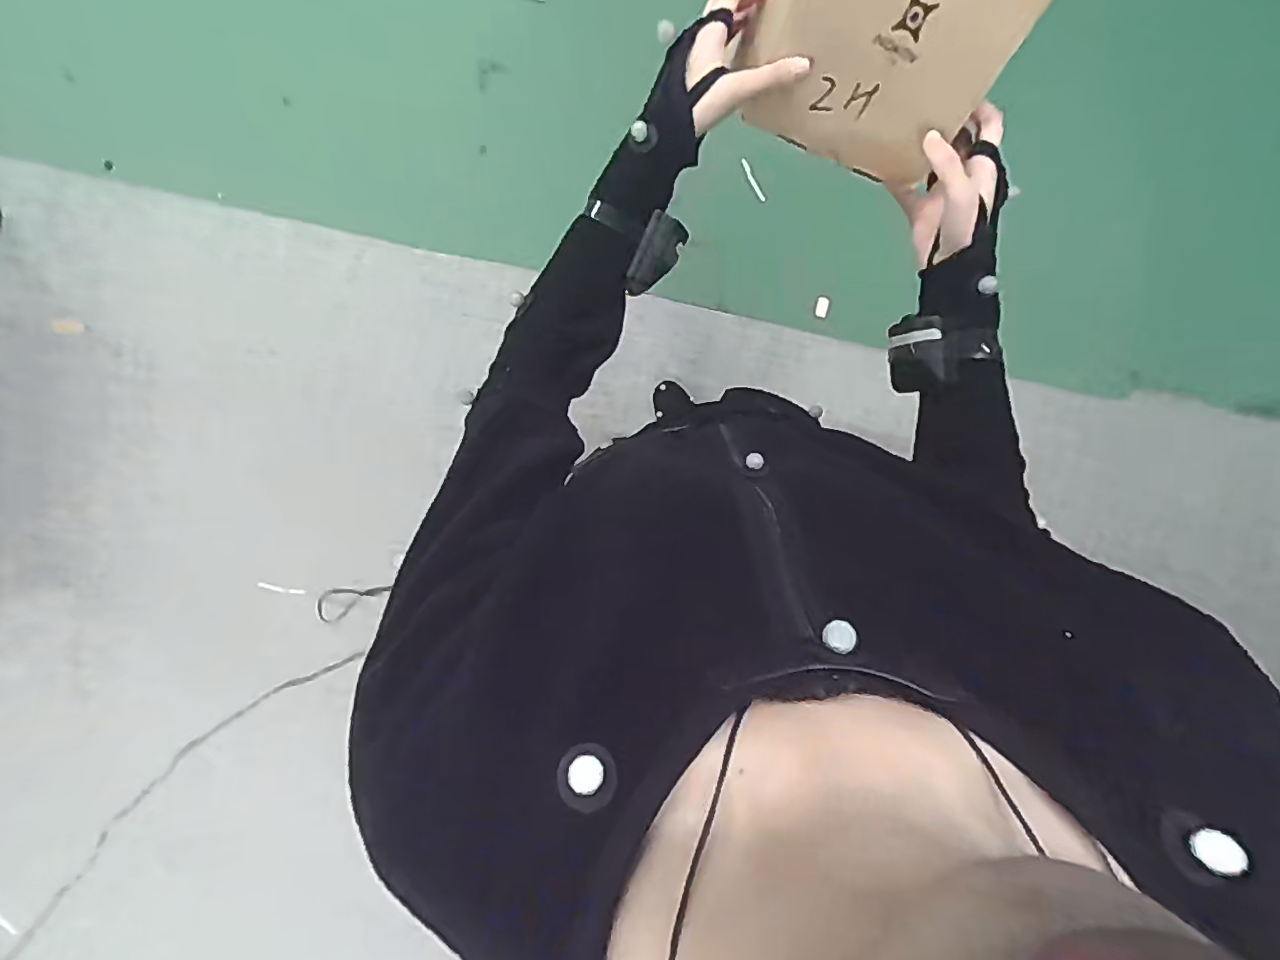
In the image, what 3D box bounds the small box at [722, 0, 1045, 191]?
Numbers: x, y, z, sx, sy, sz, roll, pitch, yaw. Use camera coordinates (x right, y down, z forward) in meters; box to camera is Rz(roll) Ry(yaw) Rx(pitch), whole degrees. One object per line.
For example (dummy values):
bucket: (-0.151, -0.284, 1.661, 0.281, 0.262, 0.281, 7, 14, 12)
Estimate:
small box: (0.177, -0.372, 0.425, 0.168, 0.176, 0.179, 13, 136, -16)
